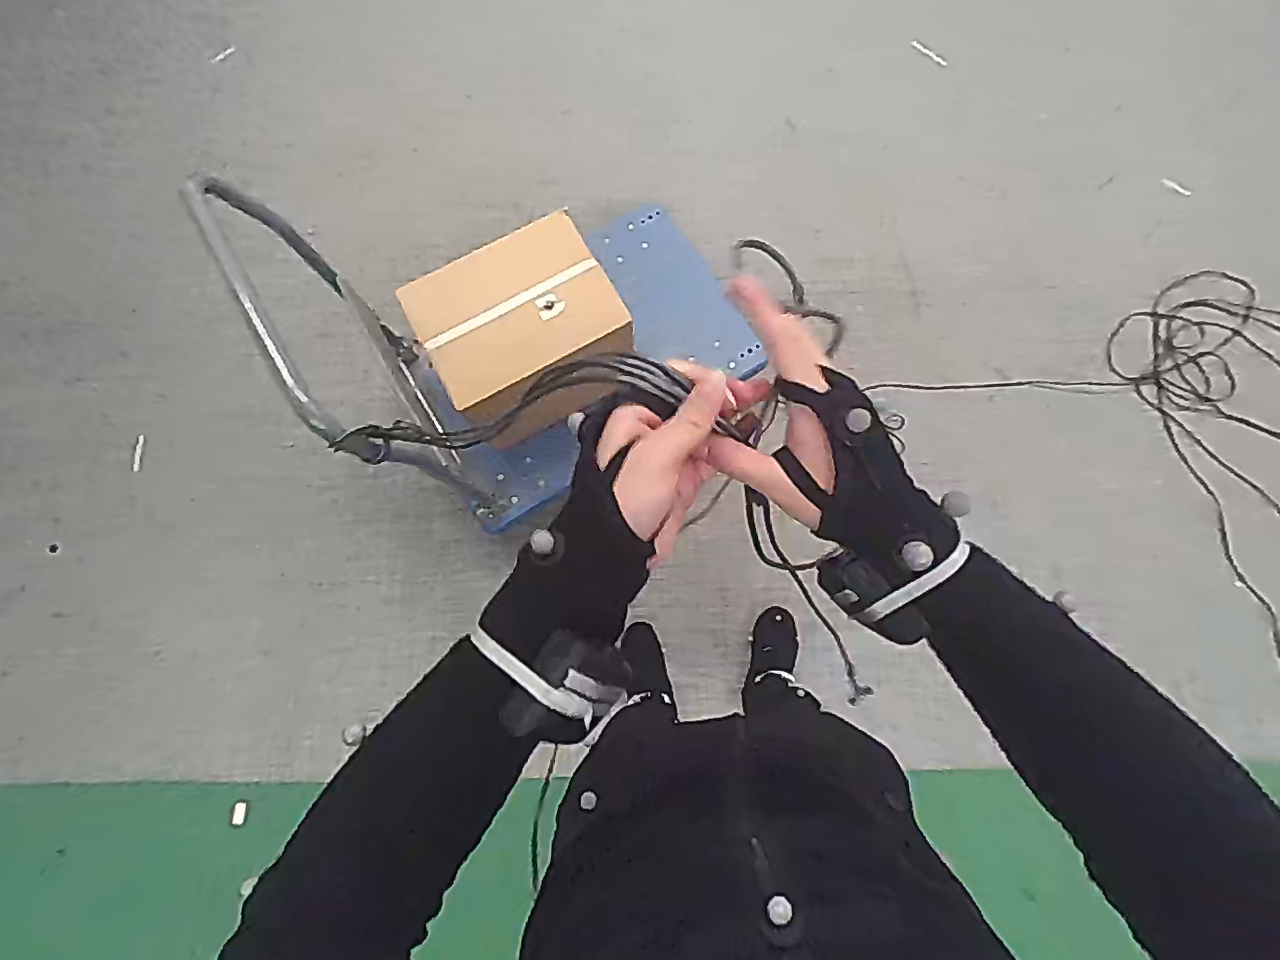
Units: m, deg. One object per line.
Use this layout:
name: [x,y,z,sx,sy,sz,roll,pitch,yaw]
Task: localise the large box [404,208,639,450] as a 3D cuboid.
large box: [-0.247,-0.327,1.256,0.408,0.320,0.320,-29,79,-6]
